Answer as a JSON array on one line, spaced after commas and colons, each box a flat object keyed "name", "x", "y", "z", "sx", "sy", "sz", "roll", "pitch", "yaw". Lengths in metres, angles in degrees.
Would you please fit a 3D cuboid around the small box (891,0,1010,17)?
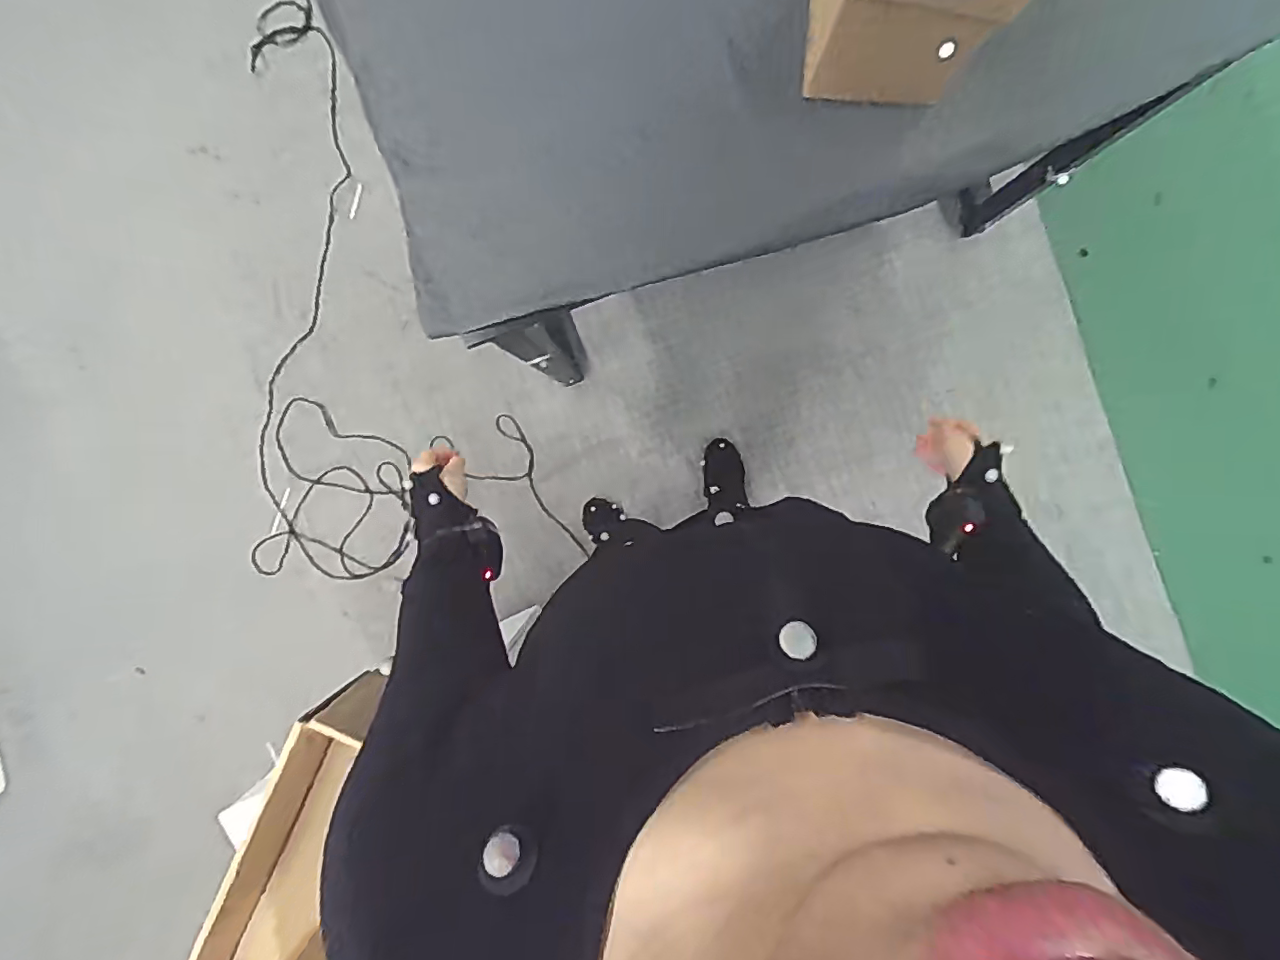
[{"name": "small box", "x": 0.298, "y": -0.550, "z": 0.461, "sx": 0.179, "sy": 0.176, "sz": 0.168, "roll": 11, "pitch": 93, "yaw": 2}]
